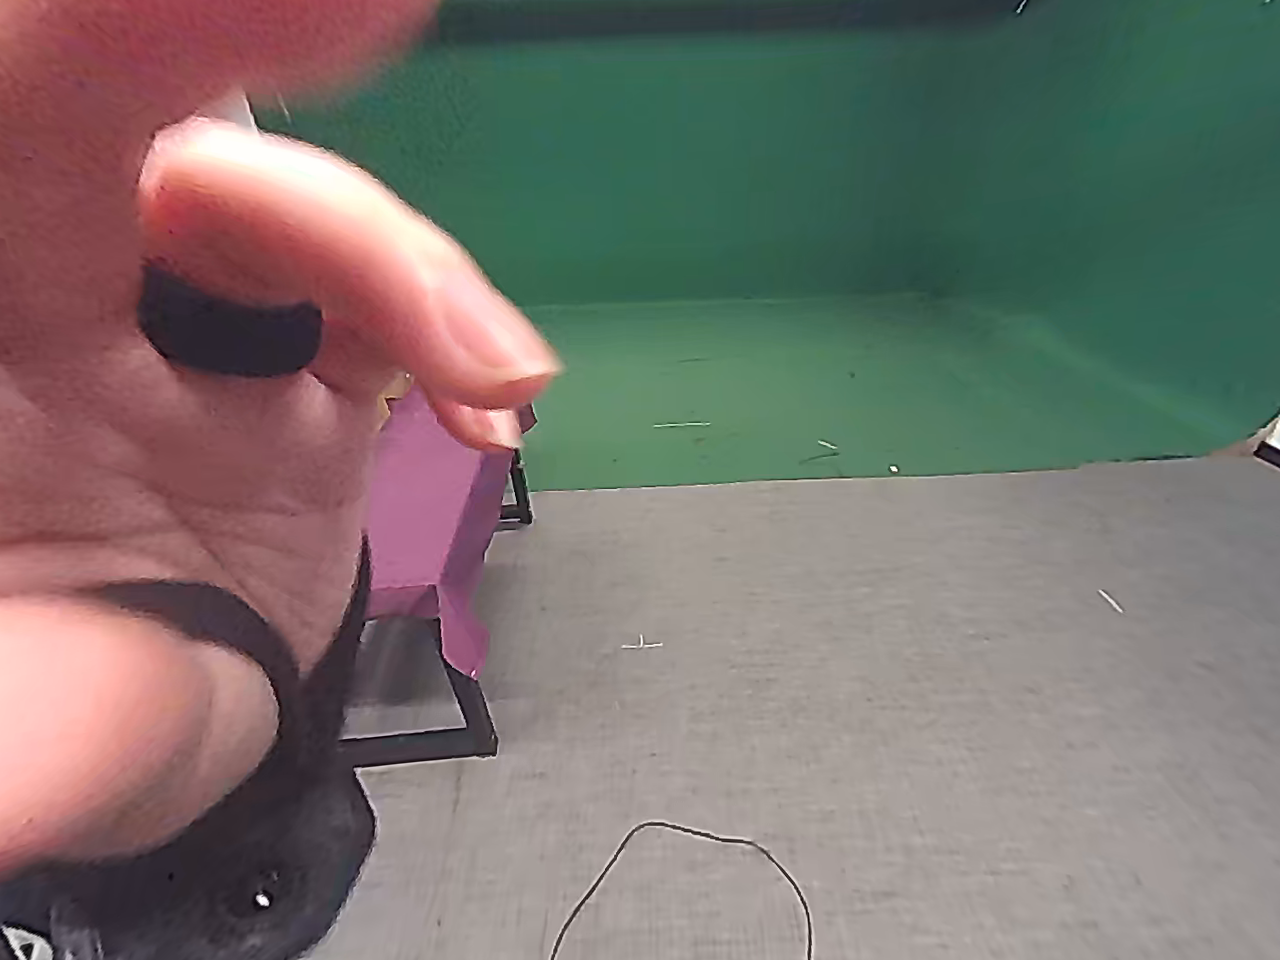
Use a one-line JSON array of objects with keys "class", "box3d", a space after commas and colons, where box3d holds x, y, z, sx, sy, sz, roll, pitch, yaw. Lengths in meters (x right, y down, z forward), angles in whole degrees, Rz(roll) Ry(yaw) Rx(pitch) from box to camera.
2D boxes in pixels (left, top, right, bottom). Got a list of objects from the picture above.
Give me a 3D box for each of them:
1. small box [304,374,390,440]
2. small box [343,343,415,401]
[{"class": "small box", "box3d": [-0.959, -0.238, 1.785, 0.179, 0.176, 0.168, -3, 34, -2]}, {"class": "small box", "box3d": [-0.967, -0.403, 2.022, 0.179, 0.176, 0.168, 0, 35, -2]}]
